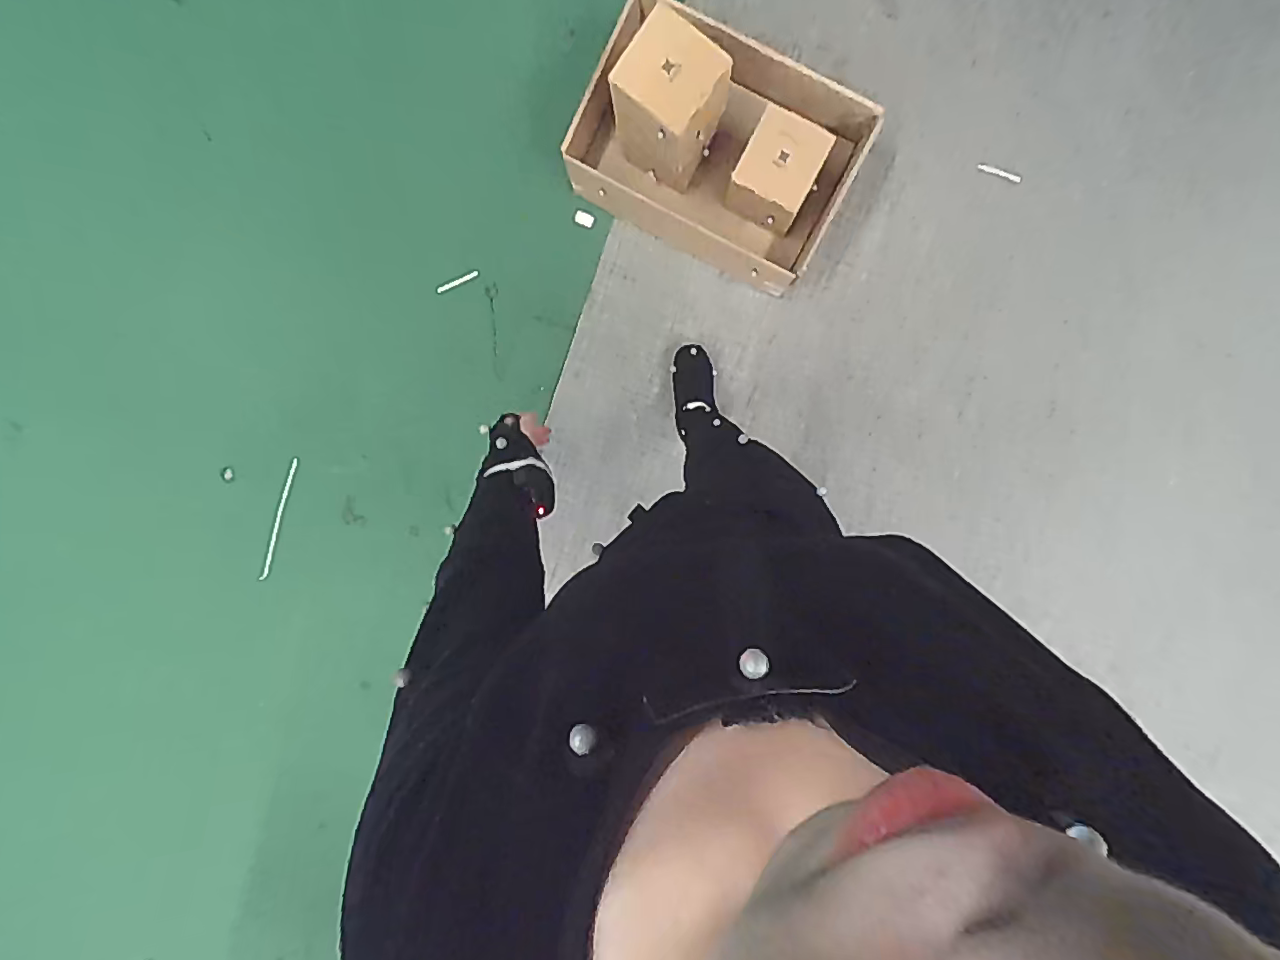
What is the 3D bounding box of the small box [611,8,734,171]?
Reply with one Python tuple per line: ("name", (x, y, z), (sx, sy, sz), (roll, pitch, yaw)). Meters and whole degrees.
("small box", (0.064, -0.769, 1.091), (0.179, 0.176, 0.168), (37, 97, -3))
